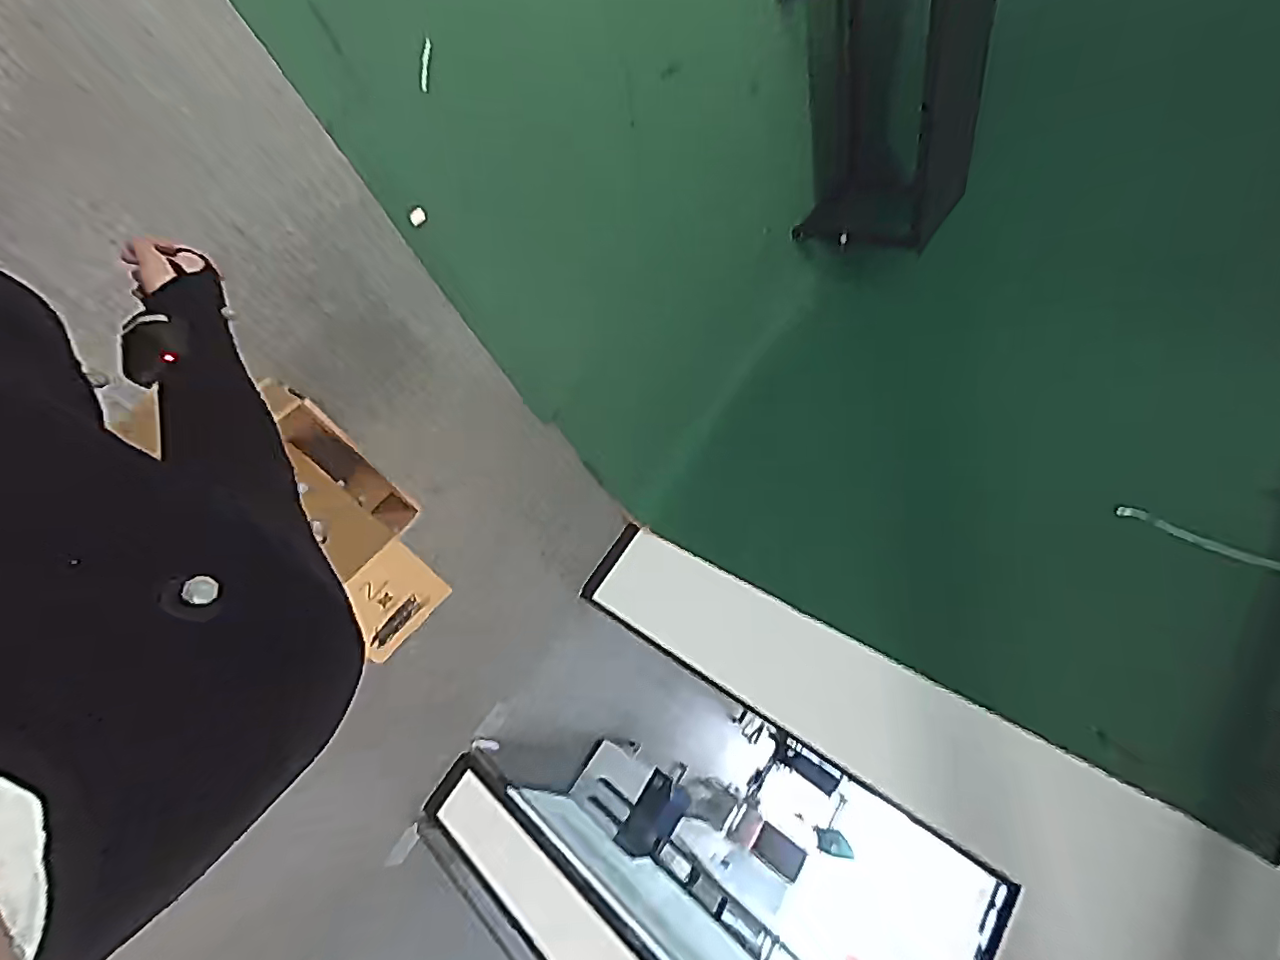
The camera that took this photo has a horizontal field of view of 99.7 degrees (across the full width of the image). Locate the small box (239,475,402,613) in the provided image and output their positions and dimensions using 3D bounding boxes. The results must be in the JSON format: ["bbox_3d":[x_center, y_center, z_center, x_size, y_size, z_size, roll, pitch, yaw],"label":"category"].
[{"bbox_3d":[-0.598,0.111,1.015,0.168,0.176,0.179,-48,142,-21],"label":"small box"}]
